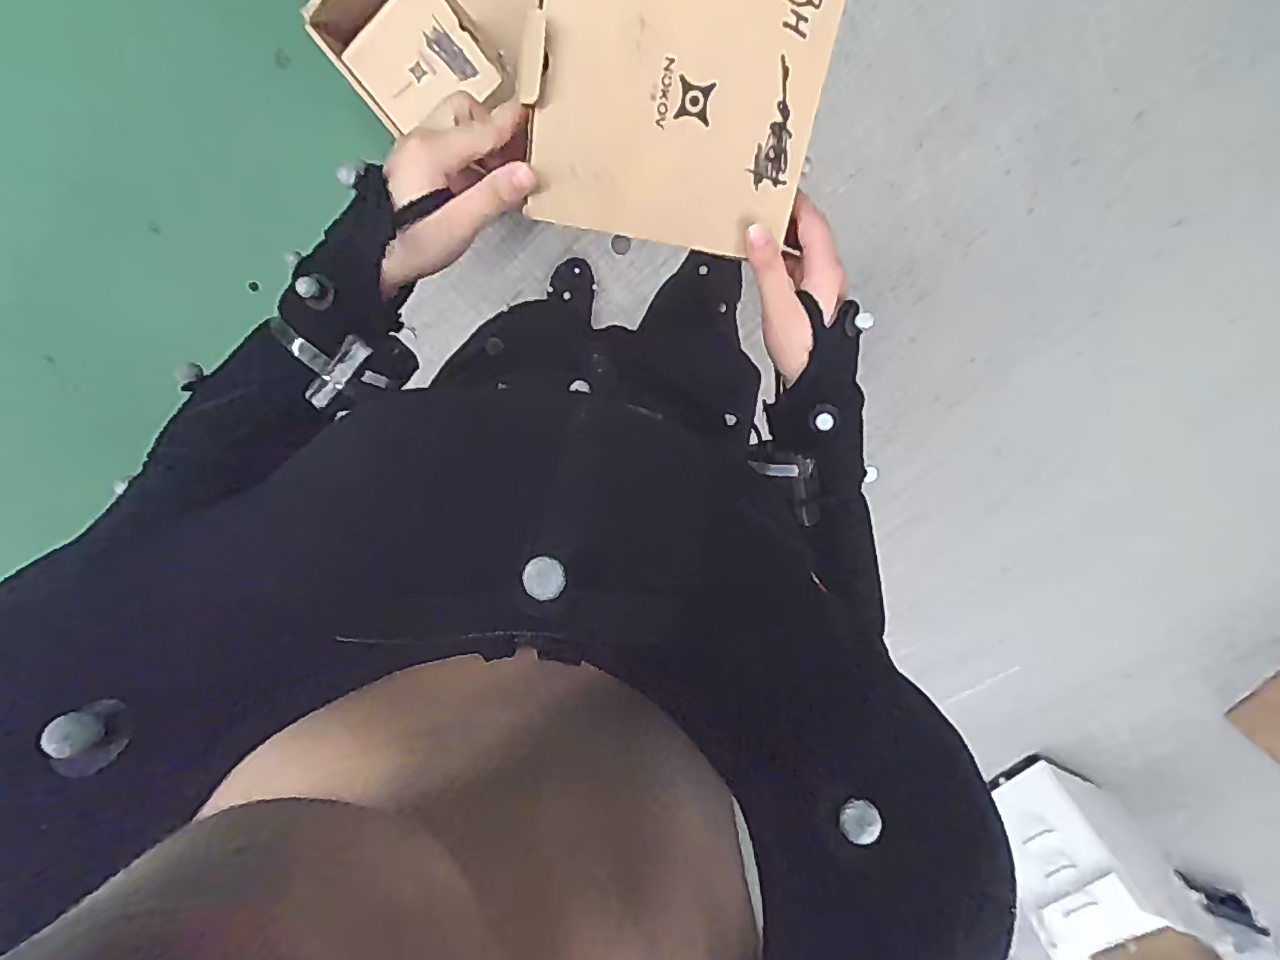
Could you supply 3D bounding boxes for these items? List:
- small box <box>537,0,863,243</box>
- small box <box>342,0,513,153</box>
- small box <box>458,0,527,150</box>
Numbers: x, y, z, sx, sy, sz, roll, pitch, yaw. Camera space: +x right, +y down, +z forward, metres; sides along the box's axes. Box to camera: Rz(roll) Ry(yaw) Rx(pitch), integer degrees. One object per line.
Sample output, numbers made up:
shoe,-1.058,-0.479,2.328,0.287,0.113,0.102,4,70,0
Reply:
small box,0.025,-0.273,0.385,0.179,0.176,0.168,6,114,-11
small box,-0.320,-0.655,0.859,0.179,0.176,0.168,-33,116,16
small box,-0.329,-0.740,0.999,0.179,0.176,0.168,-35,117,15
